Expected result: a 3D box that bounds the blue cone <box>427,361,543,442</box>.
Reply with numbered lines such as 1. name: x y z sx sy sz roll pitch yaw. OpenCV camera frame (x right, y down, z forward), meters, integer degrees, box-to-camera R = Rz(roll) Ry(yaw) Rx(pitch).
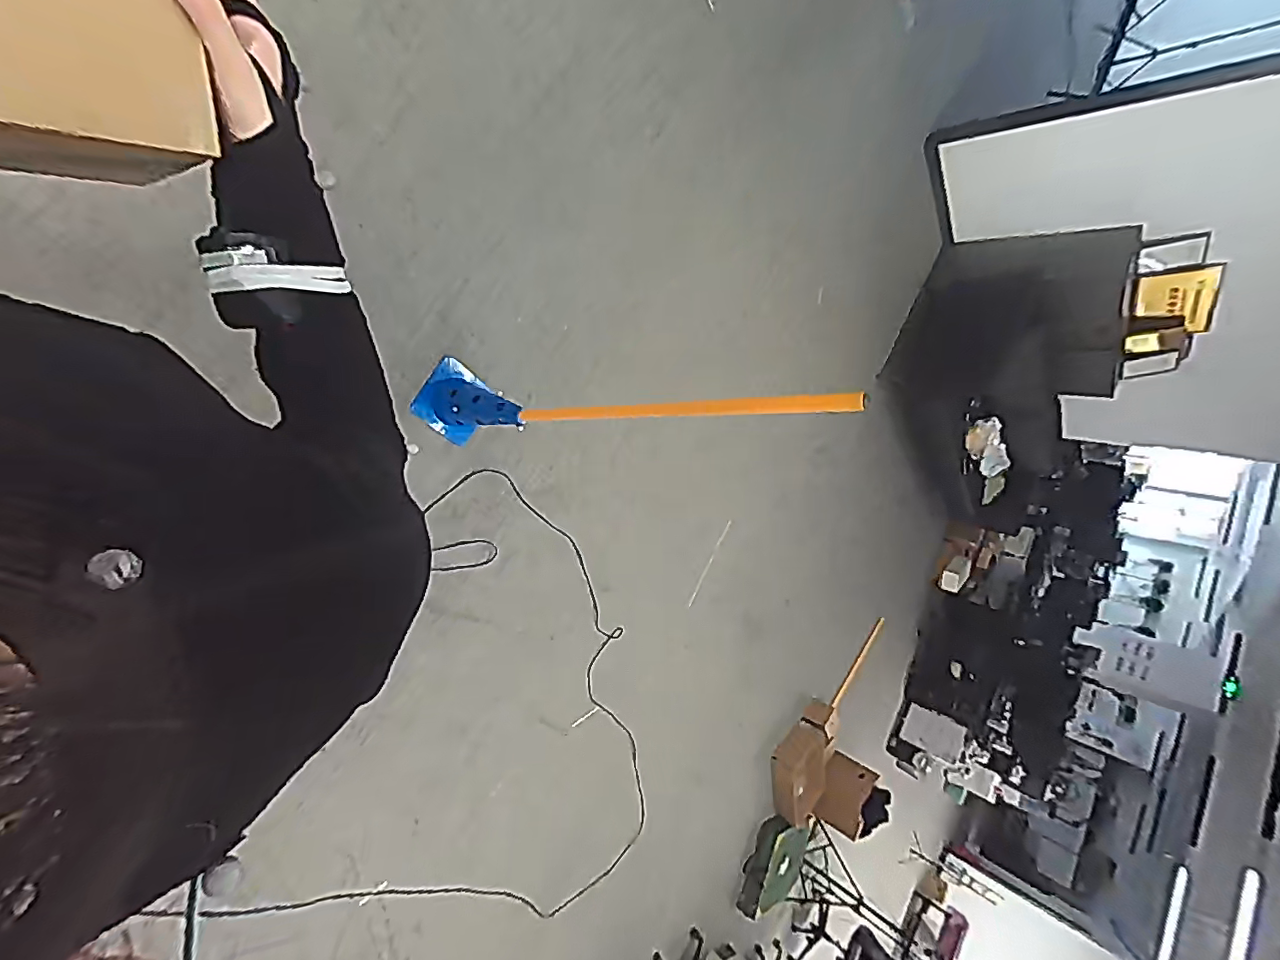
1. blue cone: -0.395 -0.199 1.461 0.192 0.380 0.193 39 72 -45
